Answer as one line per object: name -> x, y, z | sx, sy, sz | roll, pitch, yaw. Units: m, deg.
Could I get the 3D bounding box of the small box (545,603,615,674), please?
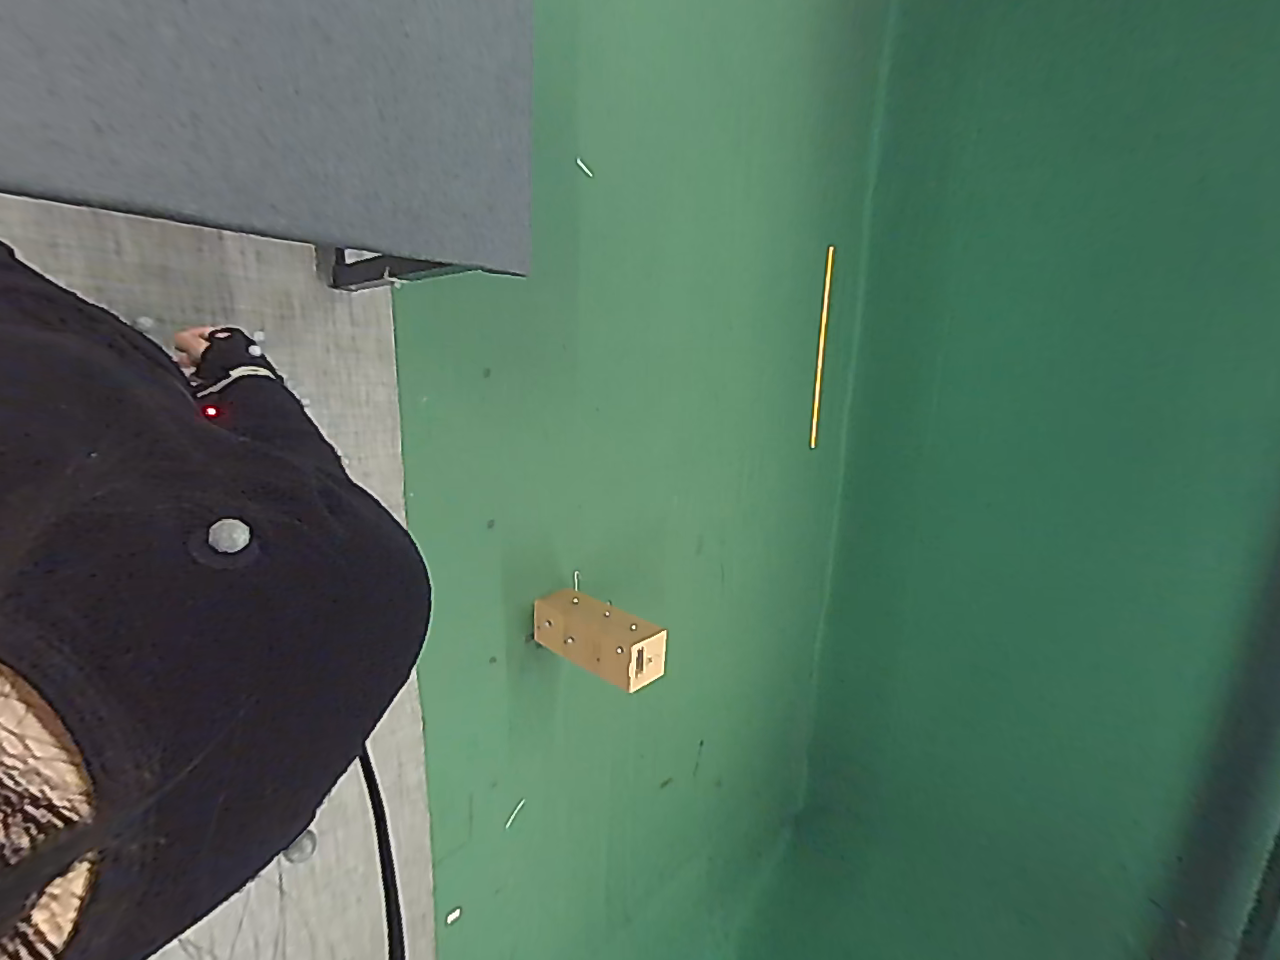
small box -> -0.213, 0.551, 1.911 | 0.179, 0.176, 0.168 | -7, 104, -49

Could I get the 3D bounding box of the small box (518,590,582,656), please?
small box -> -0.338, 0.526, 2.016 | 0.179, 0.176, 0.168 | -11, 107, -49
